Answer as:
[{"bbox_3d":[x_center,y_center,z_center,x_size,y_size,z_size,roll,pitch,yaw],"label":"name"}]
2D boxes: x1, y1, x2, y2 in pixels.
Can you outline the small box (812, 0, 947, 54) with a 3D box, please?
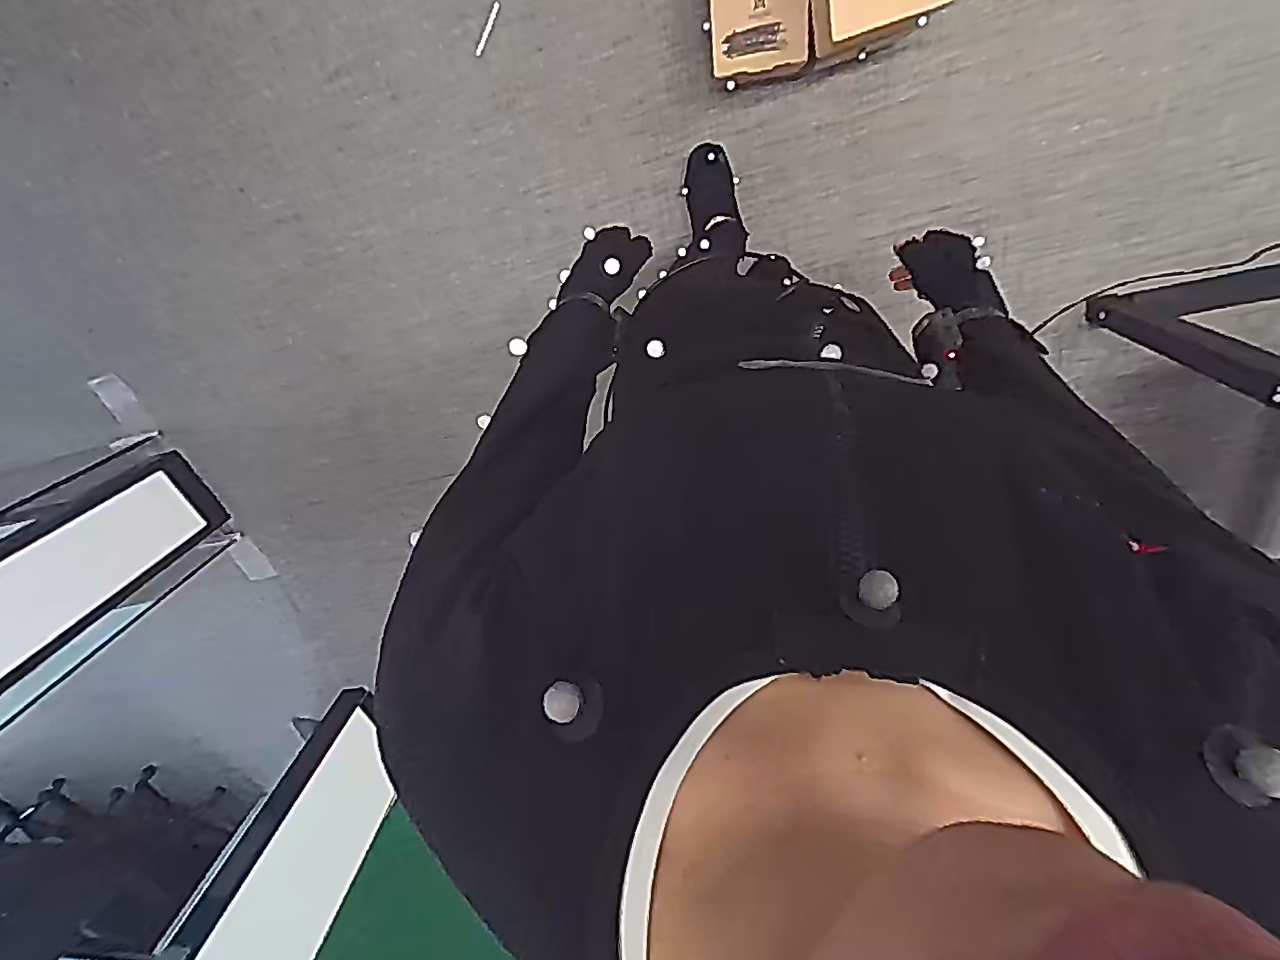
[{"bbox_3d":[0.357,-0.783,0.821,0.179,0.176,0.168,-11,119,14],"label":"small box"}]
